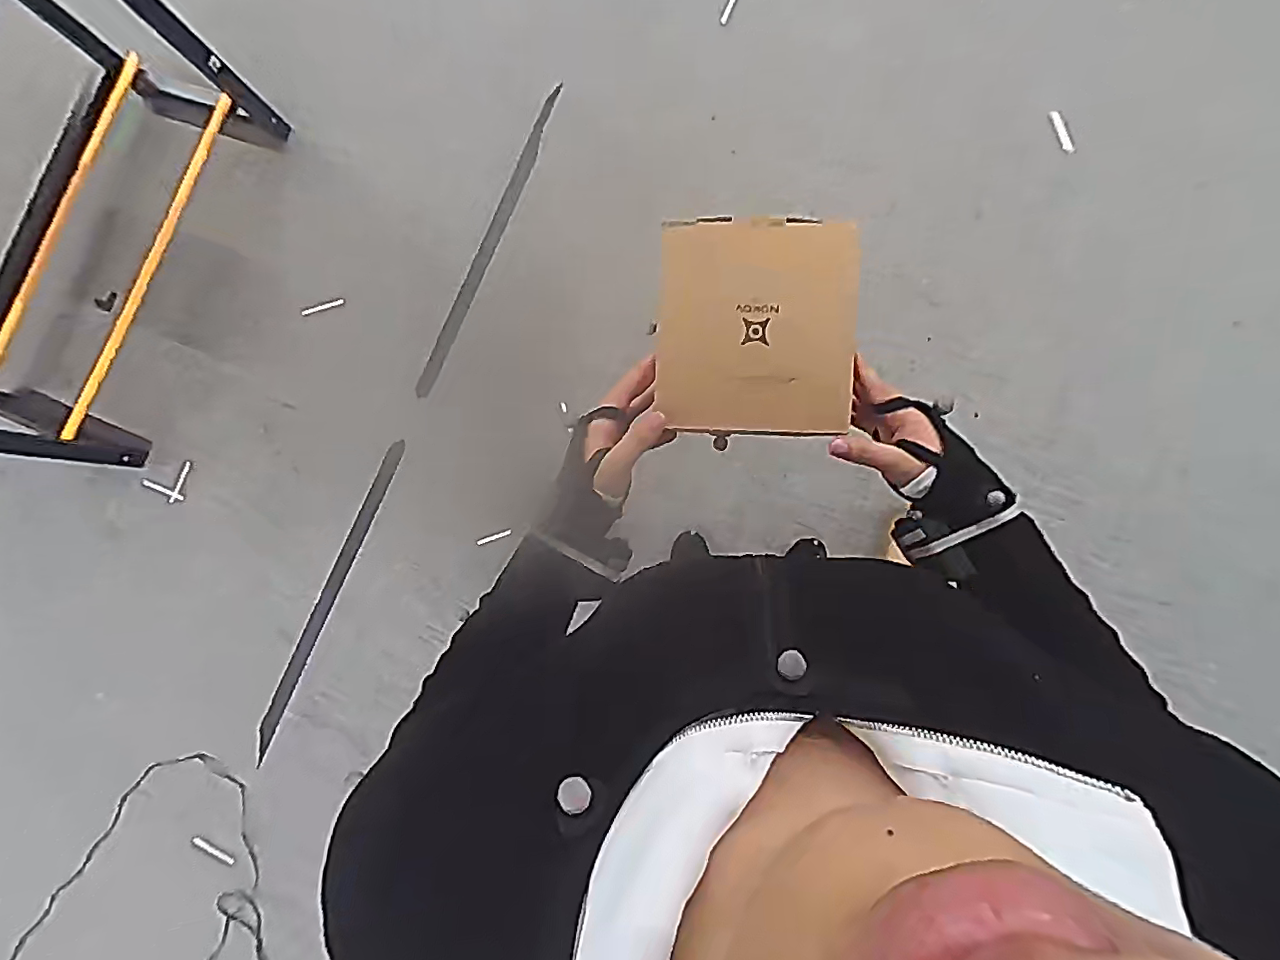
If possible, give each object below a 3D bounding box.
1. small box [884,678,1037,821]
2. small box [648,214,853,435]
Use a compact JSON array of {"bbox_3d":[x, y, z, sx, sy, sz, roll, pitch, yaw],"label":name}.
[{"bbox_3d":[0.625,0.522,1.077,0.179,0.176,0.168,25,88,7],"label":"small box"},{"bbox_3d":[0.093,-0.136,0.529,0.168,0.176,0.179,2,95,3],"label":"small box"}]
